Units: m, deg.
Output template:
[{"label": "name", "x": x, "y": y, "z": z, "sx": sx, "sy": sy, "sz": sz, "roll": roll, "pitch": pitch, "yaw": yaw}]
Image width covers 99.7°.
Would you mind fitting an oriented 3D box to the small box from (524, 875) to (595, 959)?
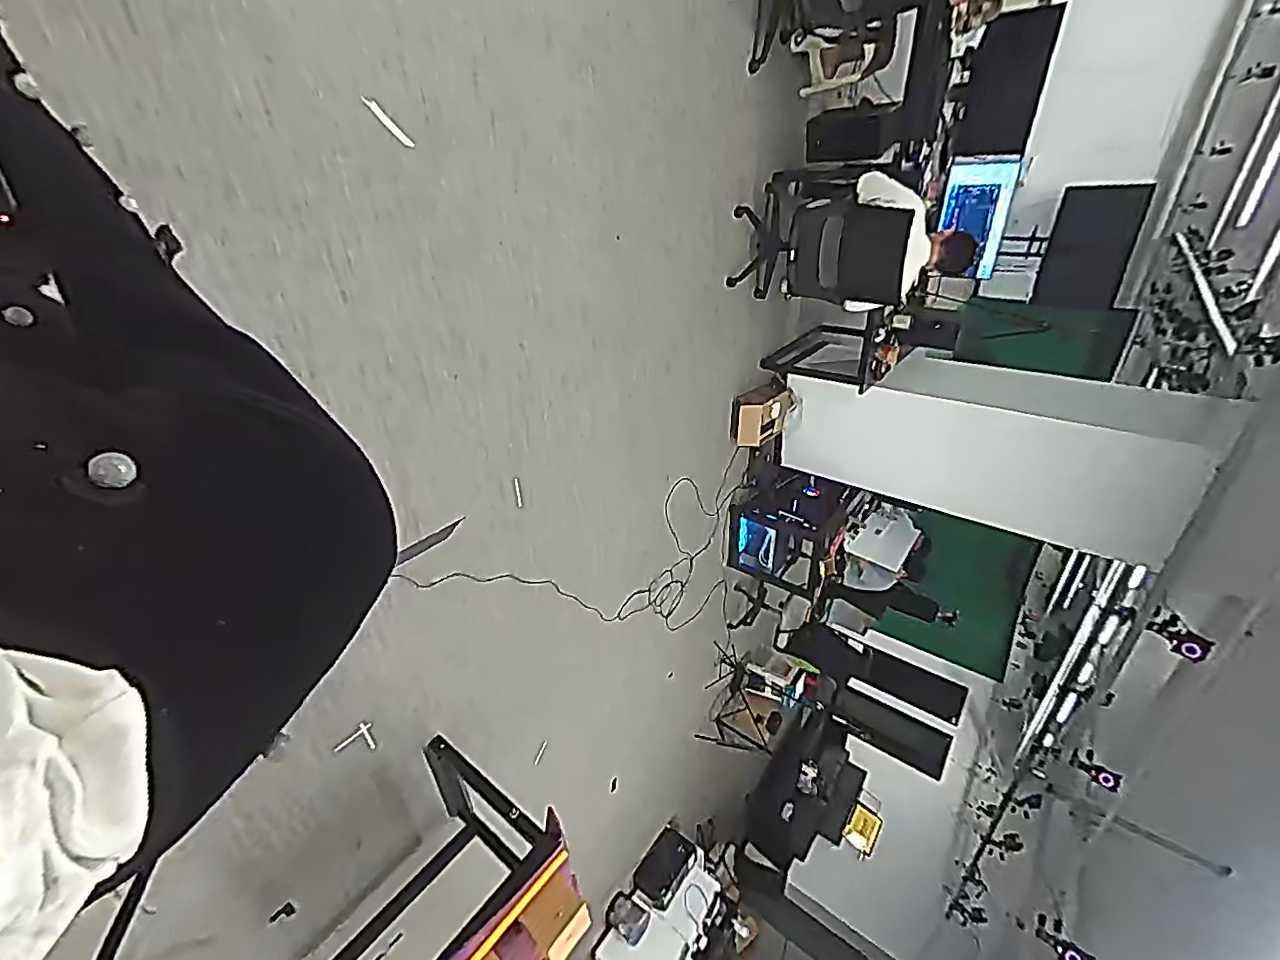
[{"label": "small box", "x": -0.281, "y": 1.517, "z": 1.849, "sx": 0.179, "sy": 0.176, "sz": 0.168, "roll": -34, "pitch": 132, "yaw": -41}]
